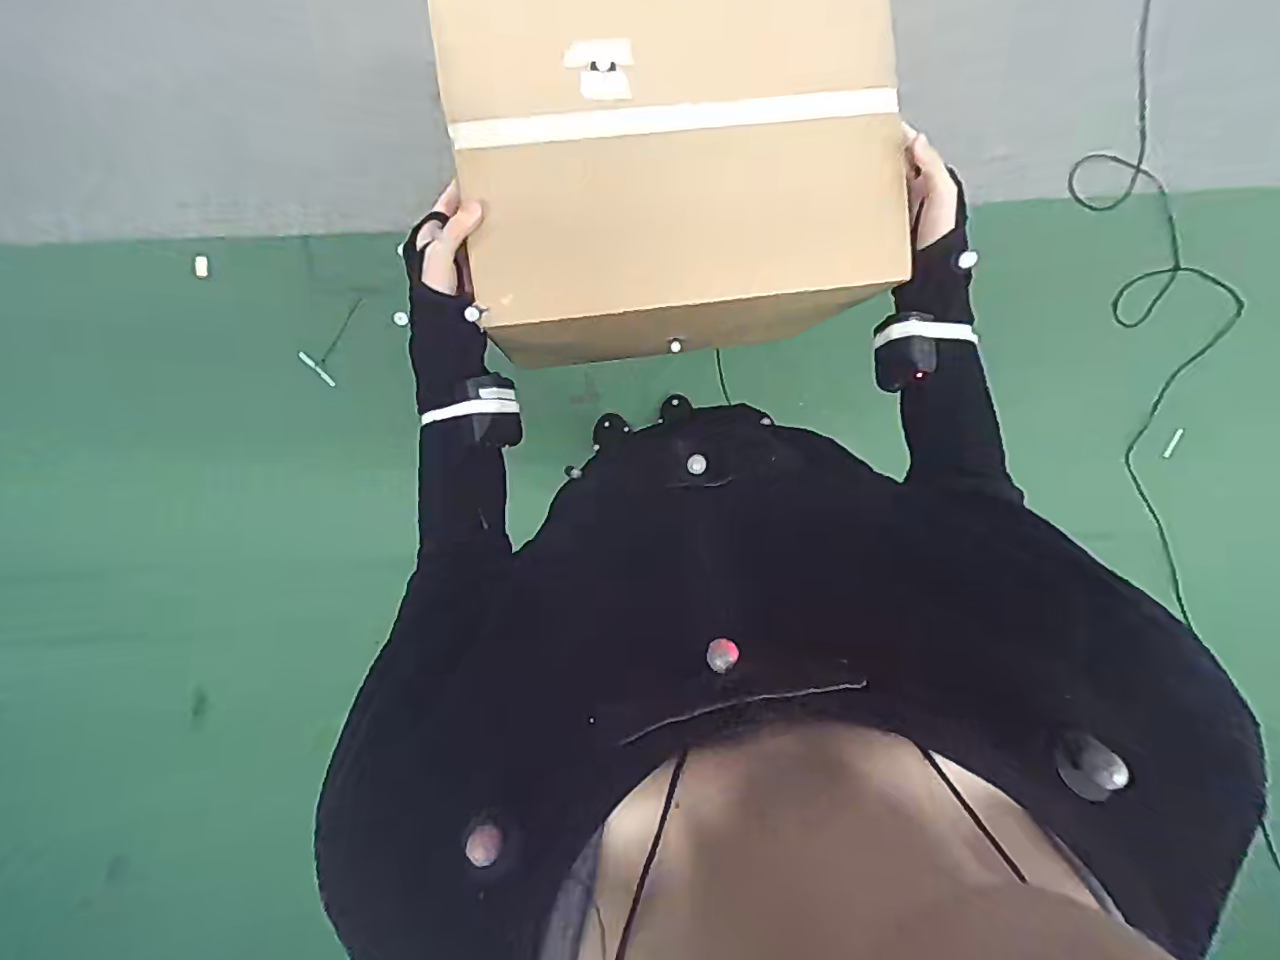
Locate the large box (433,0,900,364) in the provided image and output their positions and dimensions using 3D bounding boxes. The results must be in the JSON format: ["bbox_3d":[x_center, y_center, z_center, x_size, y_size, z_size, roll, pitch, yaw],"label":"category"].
[{"bbox_3d":[0.024,-0.330,0.638,0.408,0.320,0.320,-8,95,-5],"label":"large box"}]
